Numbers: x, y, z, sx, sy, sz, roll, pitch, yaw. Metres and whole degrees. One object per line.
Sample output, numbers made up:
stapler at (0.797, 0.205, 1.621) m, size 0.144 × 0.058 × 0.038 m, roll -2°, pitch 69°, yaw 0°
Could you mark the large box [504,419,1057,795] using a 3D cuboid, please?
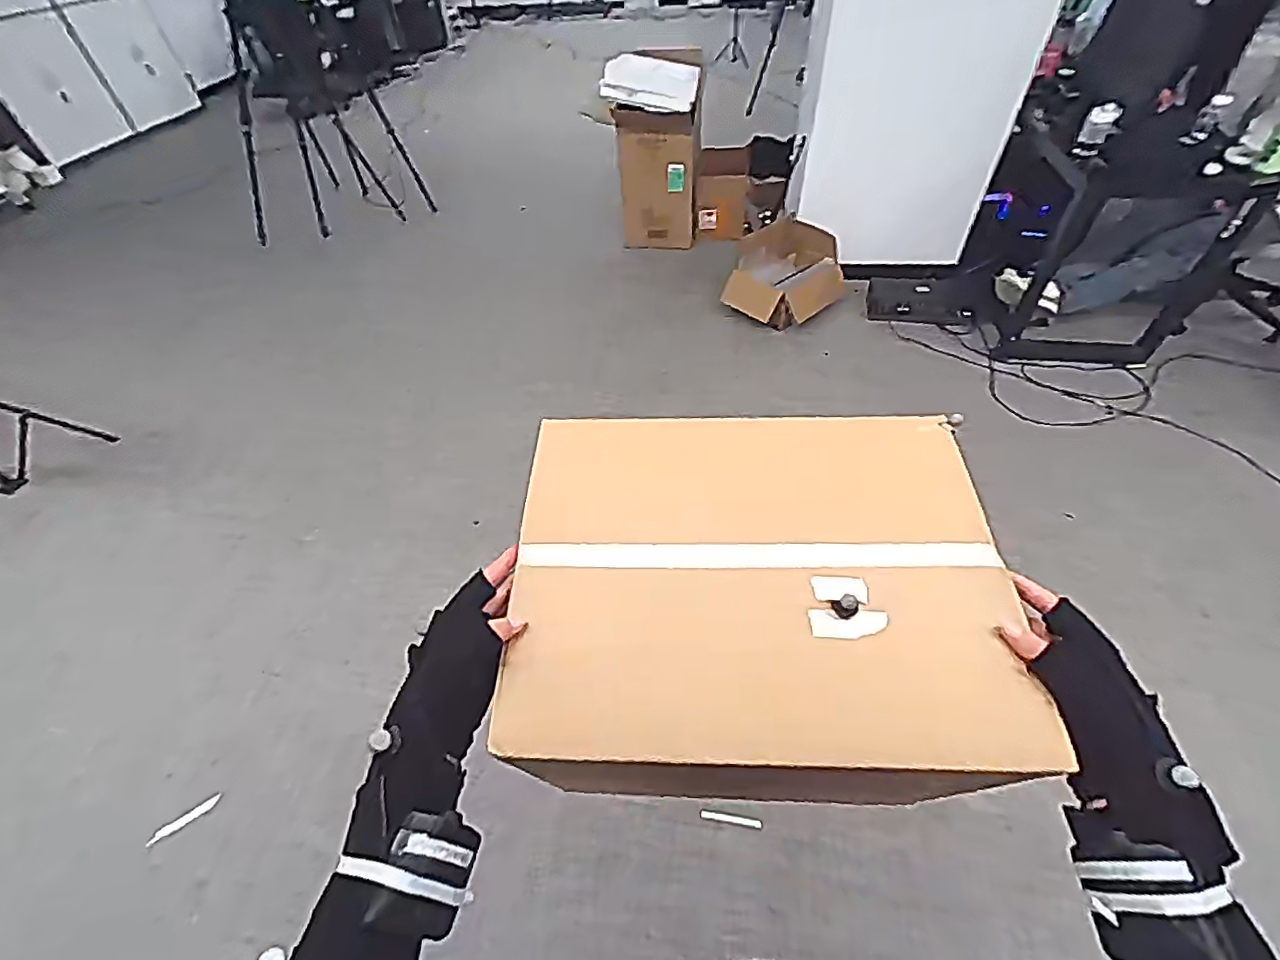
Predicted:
large box at (0.102, 0.152, 0.590) m, size 0.408 × 0.320 × 0.320 m, roll 0°, pitch 56°, yaw 2°
